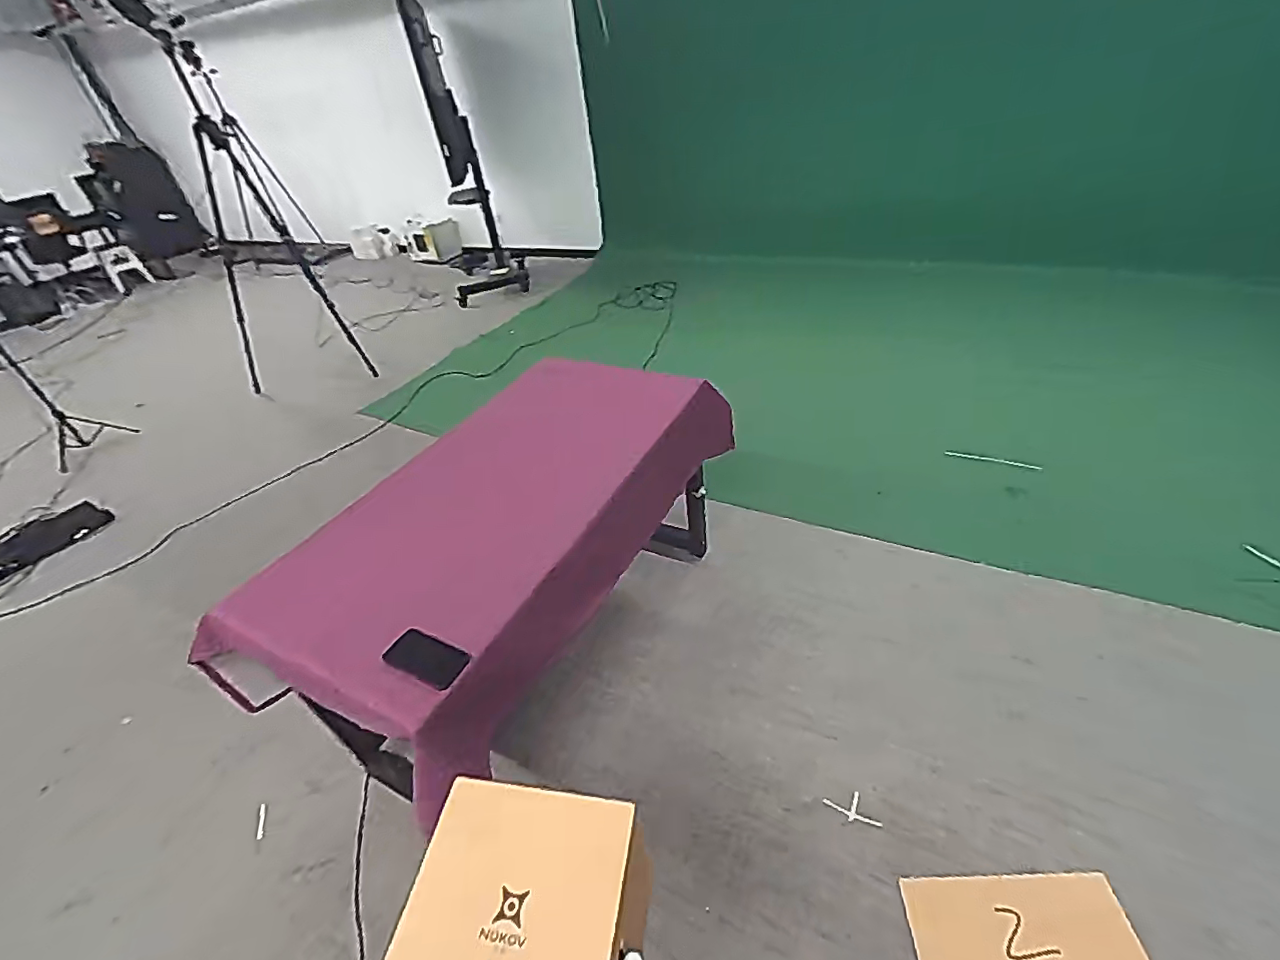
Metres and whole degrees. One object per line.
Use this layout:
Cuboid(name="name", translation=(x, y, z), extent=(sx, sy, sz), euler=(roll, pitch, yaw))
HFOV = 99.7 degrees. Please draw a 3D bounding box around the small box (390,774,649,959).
Cuboid(name="small box", translation=(-0.088, 0.388, 0.464), extent=(0.168, 0.176, 0.179), euler=(3, 42, 12))
